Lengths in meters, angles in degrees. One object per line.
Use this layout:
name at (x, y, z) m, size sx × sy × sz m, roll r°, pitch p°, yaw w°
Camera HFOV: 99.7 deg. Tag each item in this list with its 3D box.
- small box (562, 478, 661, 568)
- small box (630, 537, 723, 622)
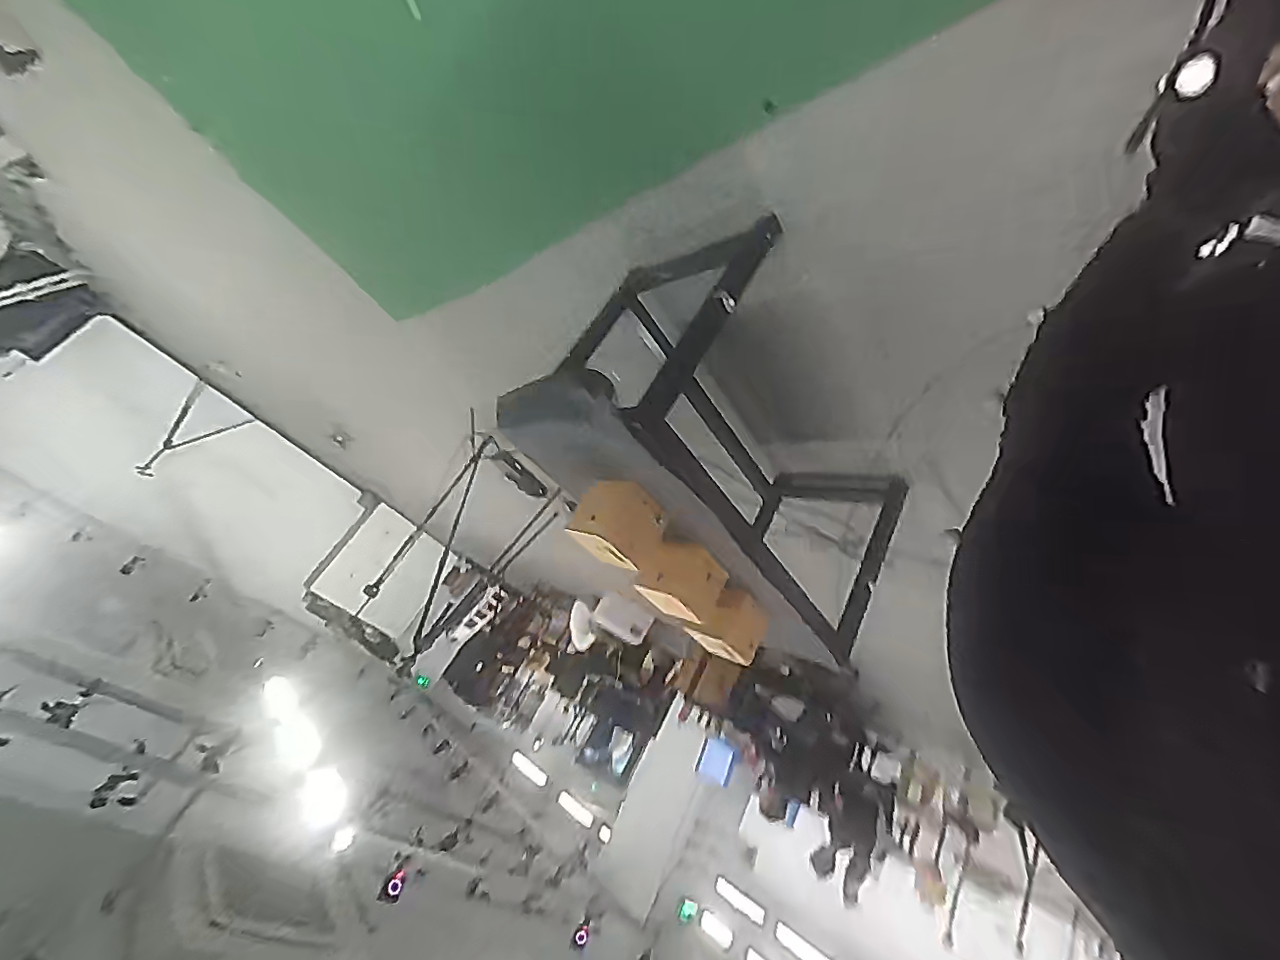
small box at (-0.067, 0.109, 1.431) m, size 0.179 × 0.176 × 0.168 m, roll 3°, pitch 144°, yaw 50°
small box at (0.109, 0.282, 1.569) m, size 0.179 × 0.176 × 0.168 m, roll 1°, pitch 142°, yaw 49°
